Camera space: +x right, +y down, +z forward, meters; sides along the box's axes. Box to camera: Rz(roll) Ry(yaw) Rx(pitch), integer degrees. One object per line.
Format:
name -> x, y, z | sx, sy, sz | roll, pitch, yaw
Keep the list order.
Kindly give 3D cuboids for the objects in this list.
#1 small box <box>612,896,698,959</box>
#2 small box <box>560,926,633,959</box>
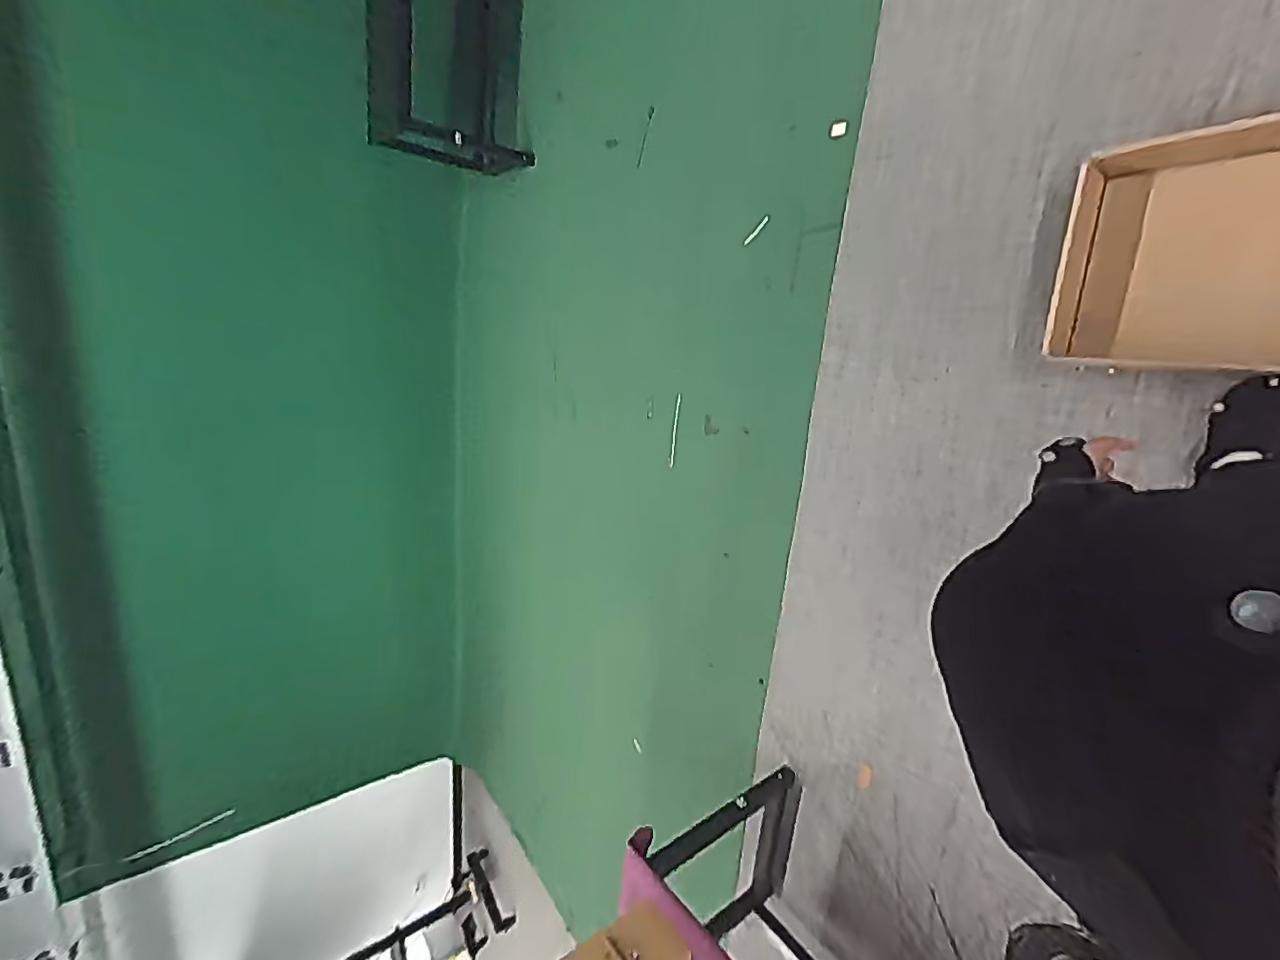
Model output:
small box -> 0.028, 1.219, 1.368 | 0.179, 0.176, 0.168 | 20, 110, 49
small box -> -0.097, 1.217, 1.262 | 0.168, 0.176, 0.179 | 23, 113, 47
